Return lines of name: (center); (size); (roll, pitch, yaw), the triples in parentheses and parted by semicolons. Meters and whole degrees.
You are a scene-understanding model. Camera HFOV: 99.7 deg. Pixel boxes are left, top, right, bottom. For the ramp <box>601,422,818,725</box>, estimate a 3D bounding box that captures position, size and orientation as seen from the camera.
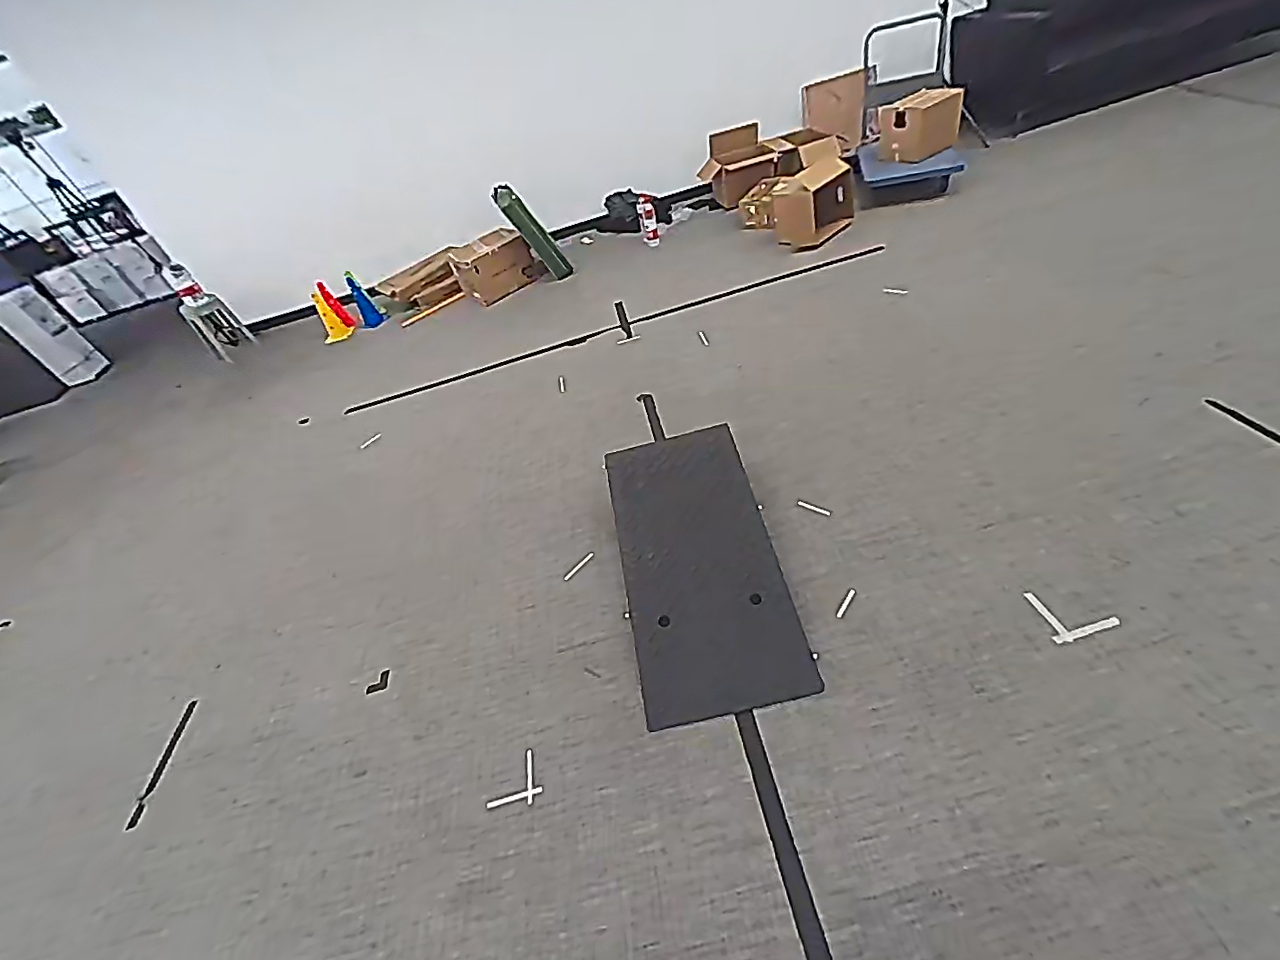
ramp: (0.171, 0.230, 1.770); (0.509, 0.206, 0.991); (-15, 43, 2)
